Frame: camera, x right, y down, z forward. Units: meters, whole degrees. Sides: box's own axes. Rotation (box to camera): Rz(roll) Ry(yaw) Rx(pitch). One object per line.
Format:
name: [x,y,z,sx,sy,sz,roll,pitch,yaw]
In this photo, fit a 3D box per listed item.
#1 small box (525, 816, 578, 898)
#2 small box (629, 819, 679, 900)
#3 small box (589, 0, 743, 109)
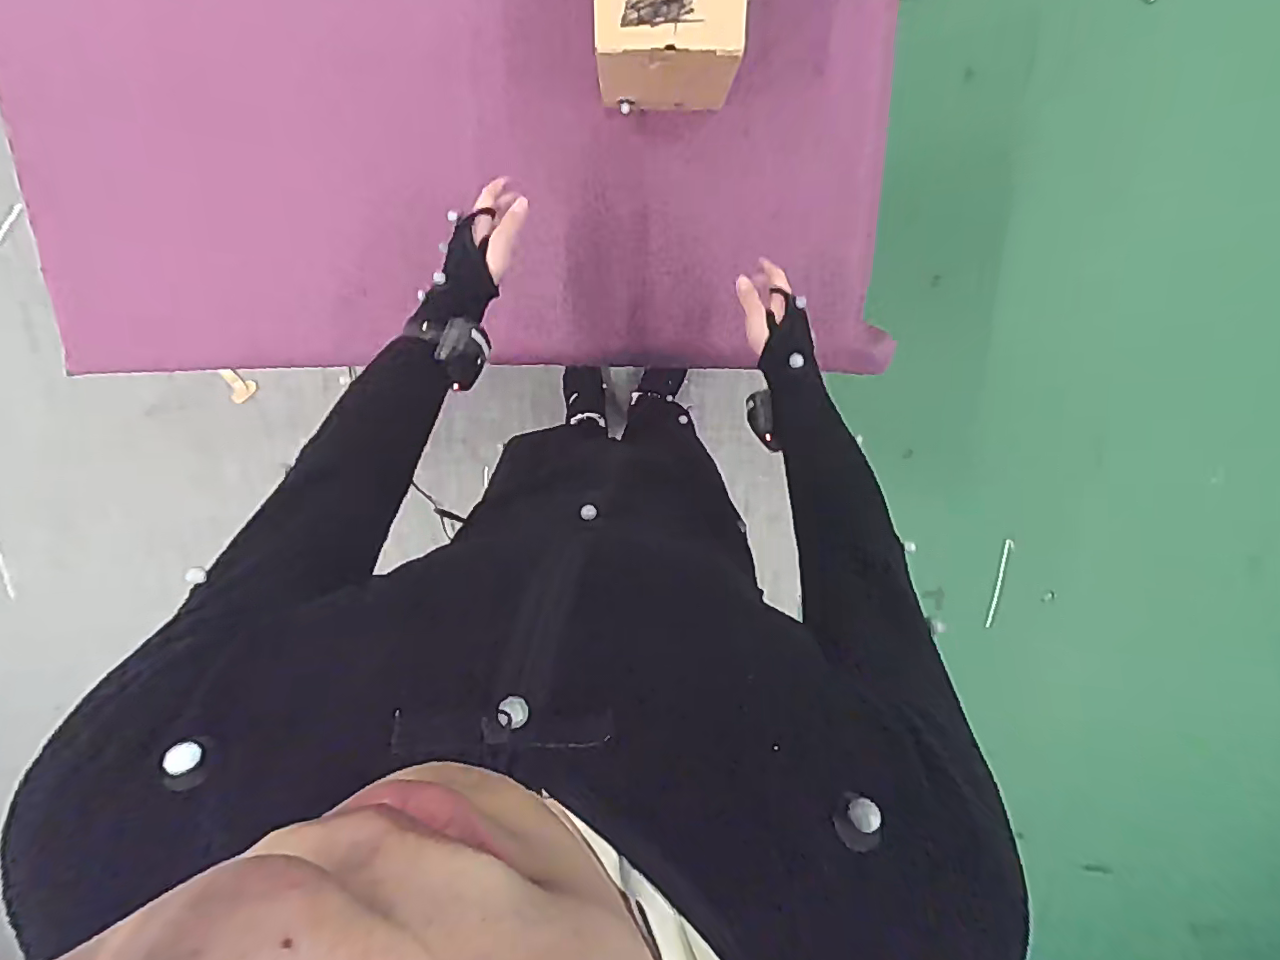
small box: [-0.311,1.335,1.920,0.168,0.176,0.179,3,106,-2]
small box: [0.047,1.351,1.930,0.168,0.176,0.179,1,107,-2]
small box: [0.029,-0.564,0.636,0.168,0.176,0.179,1,105,-1]
